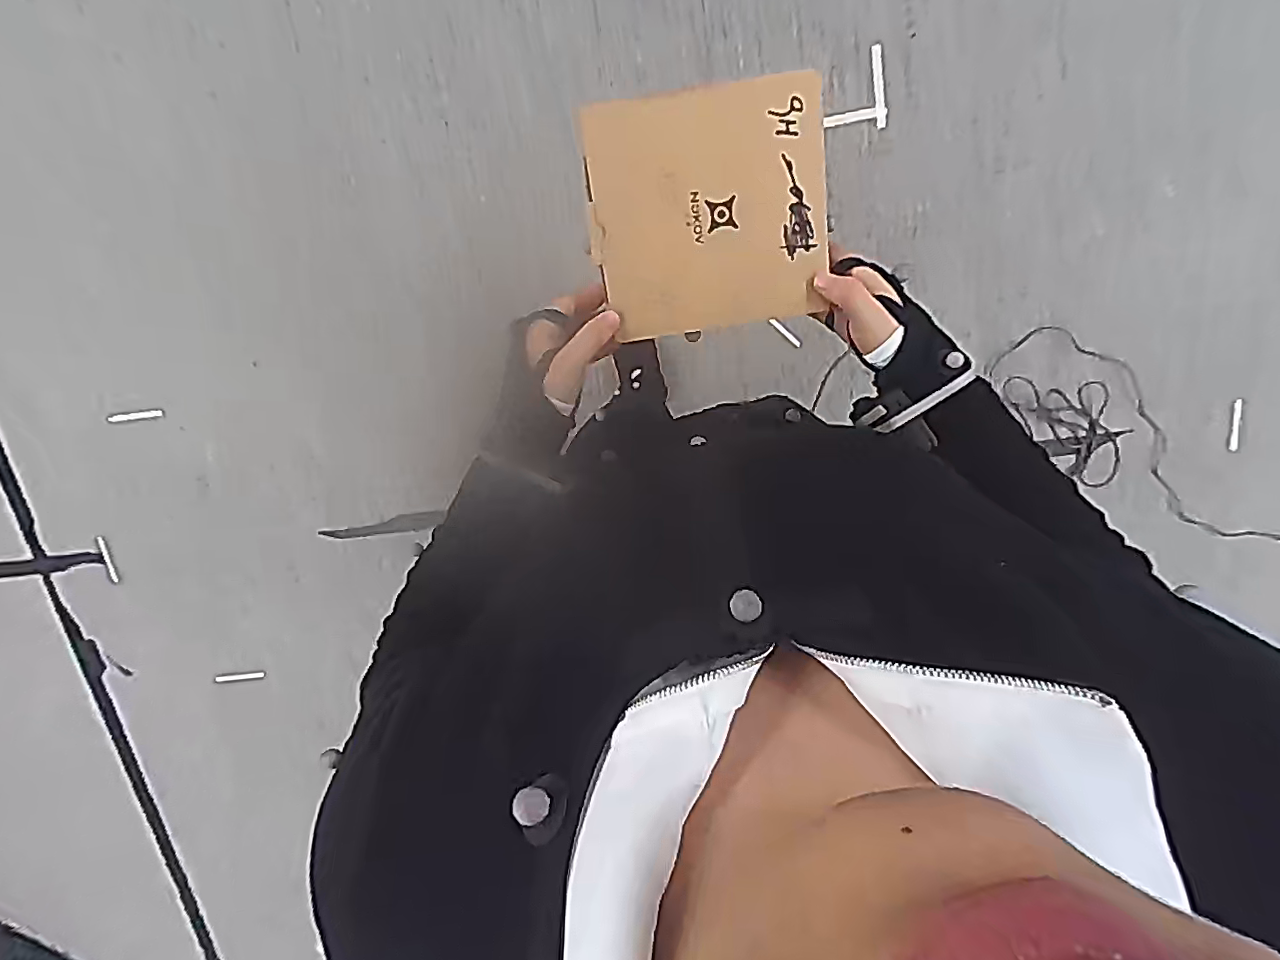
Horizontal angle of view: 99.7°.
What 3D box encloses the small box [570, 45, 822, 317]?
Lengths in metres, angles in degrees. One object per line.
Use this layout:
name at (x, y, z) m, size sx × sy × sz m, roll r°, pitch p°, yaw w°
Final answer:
small box at (0.046, -0.238, 0.477) m, size 0.179 × 0.176 × 0.168 m, roll -8°, pitch 108°, yaw 2°
